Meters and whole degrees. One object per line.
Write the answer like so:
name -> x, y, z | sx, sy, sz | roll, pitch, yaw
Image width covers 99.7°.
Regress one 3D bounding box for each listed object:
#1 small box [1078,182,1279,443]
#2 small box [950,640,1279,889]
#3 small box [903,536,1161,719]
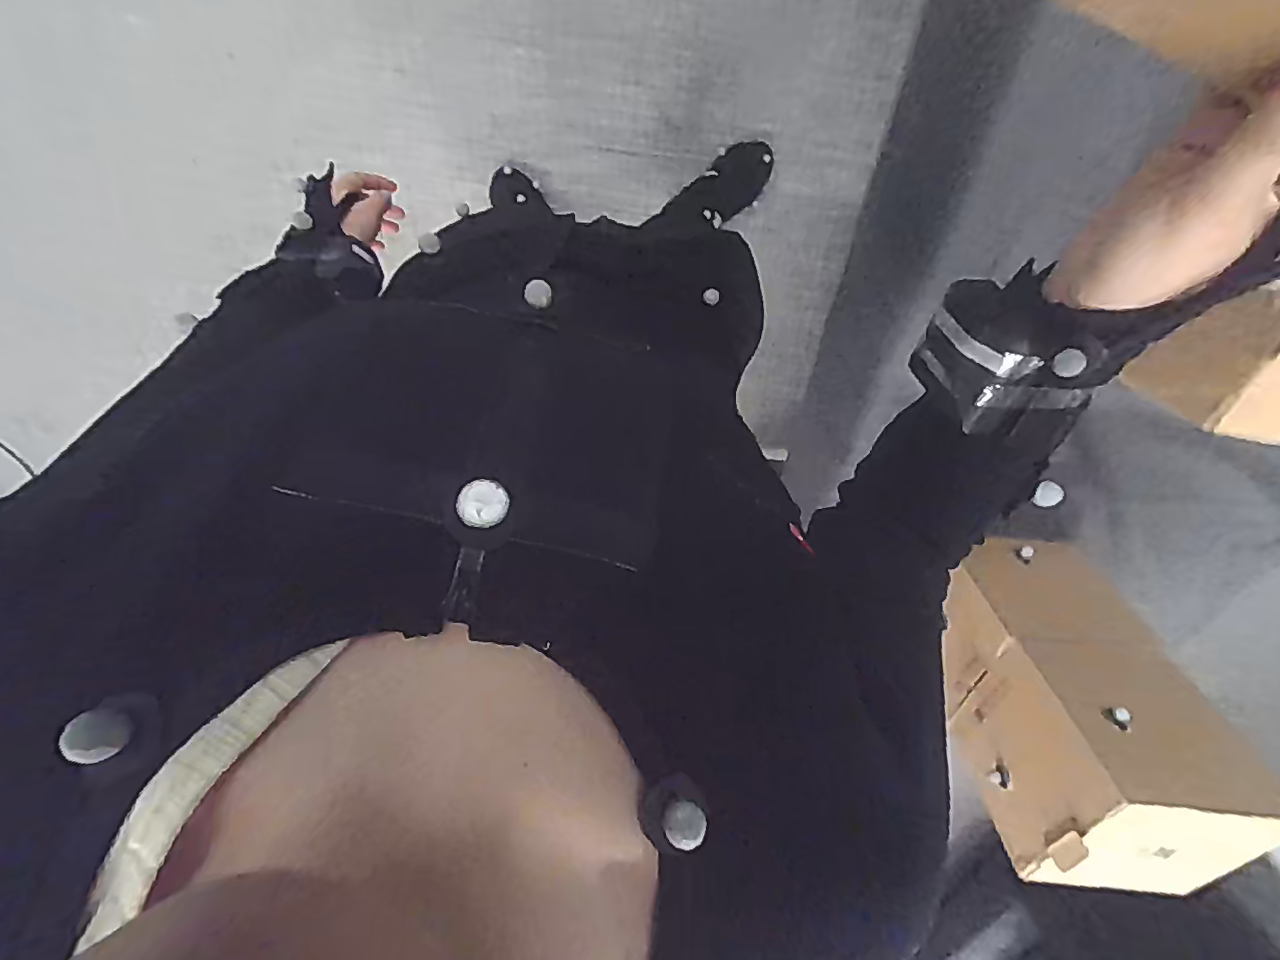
small box -> 0.538, -0.139, 0.455 | 0.179, 0.176, 0.168 | 8, 125, -6
small box -> 0.463, 0.285, 0.555 | 0.179, 0.176, 0.168 | 7, 126, -5
small box -> 0.467, 0.188, 0.685 | 0.179, 0.176, 0.168 | 5, 126, -2
